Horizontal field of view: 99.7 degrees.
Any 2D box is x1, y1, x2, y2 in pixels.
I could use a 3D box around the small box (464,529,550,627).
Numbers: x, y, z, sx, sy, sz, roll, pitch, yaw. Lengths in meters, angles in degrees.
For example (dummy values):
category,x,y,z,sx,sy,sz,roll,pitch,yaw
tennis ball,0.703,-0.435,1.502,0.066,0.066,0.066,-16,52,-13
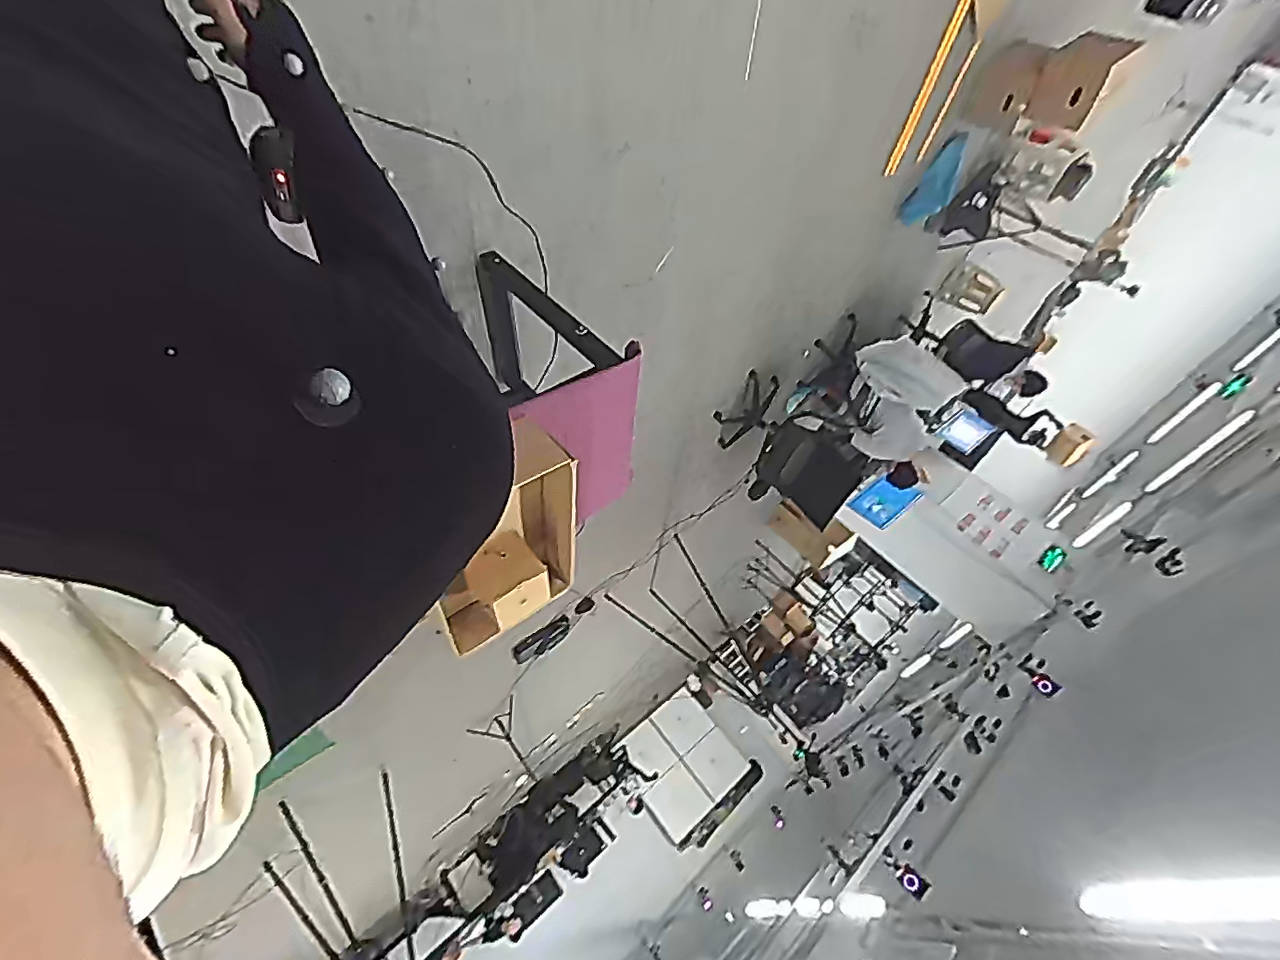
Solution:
category,x,y,z,sx,sy,sz,roll,pitch,yaw
small box,-0.369,0.270,1.510,0.168,0.176,0.179,-31,149,-26
